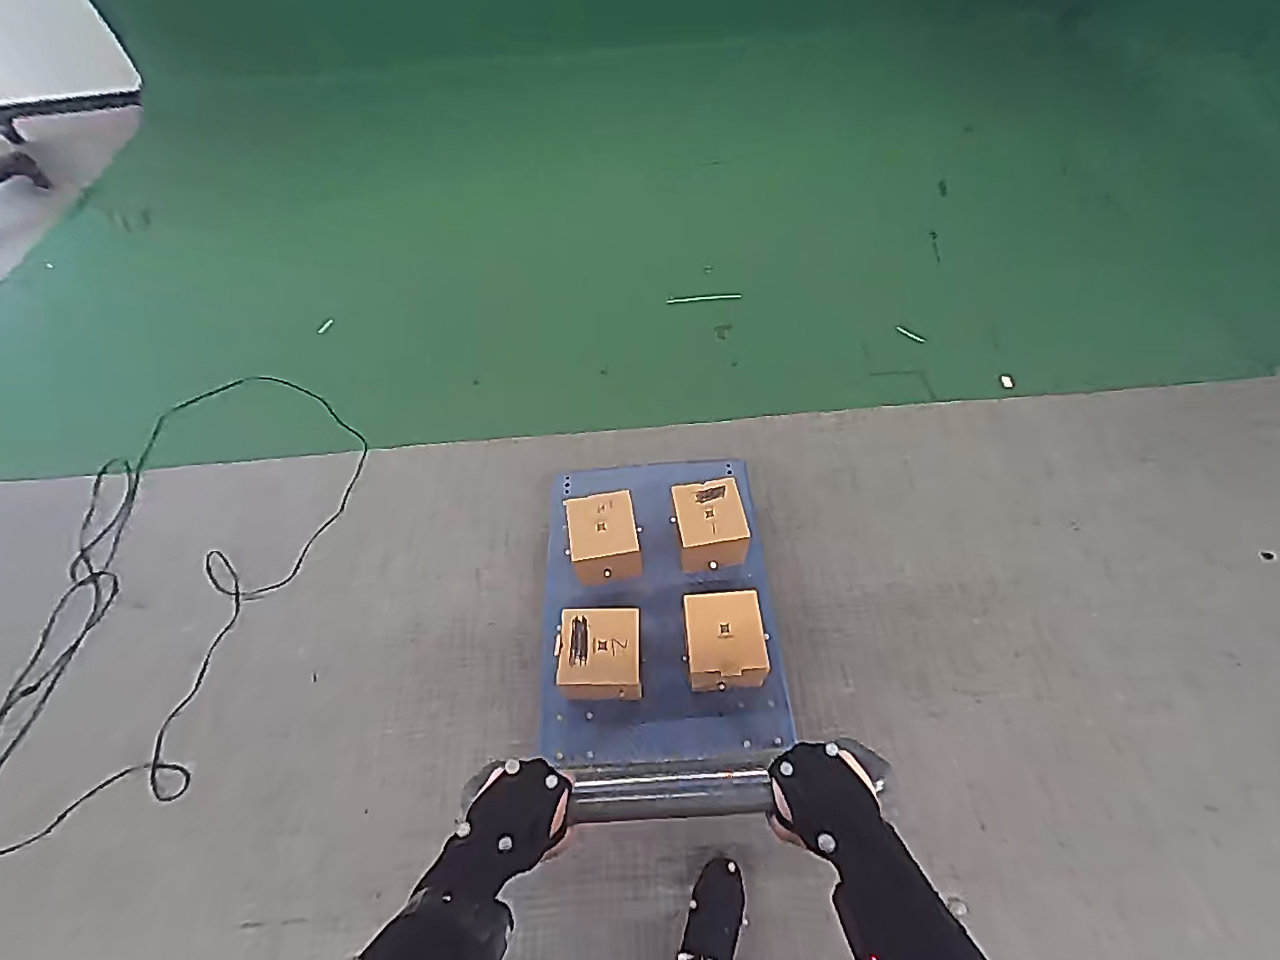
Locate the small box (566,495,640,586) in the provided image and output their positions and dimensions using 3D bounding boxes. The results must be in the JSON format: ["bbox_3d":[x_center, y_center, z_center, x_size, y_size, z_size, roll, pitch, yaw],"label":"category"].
[{"bbox_3d":[-0.093,0.162,1.399,0.168,0.176,0.179,-8,57,-3],"label":"small box"}]

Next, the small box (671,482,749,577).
[{"bbox_3d":[0.174,0.130,1.404,0.168,0.176,0.179,-9,58,-2],"label":"small box"}]

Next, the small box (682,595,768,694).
[{"bbox_3d":[0.187,0.380,1.243,0.168,0.176,0.179,-4,57,1],"label":"small box"}]
